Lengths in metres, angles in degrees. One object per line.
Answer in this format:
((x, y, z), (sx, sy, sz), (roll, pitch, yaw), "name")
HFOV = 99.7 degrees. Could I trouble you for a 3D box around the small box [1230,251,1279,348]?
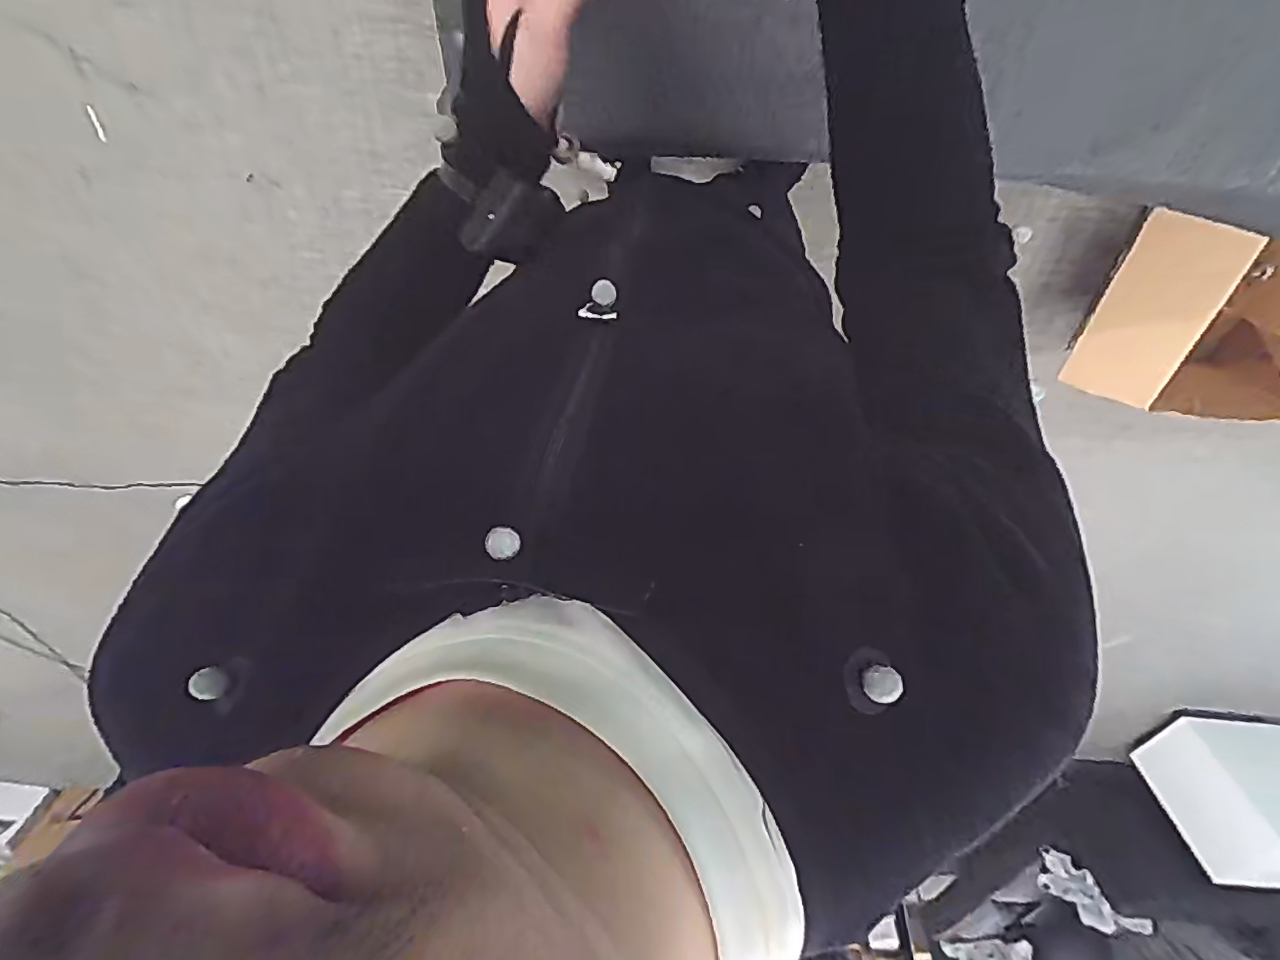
((1.433, -0.381, 1.129), (0.179, 0.176, 0.168), (0, 130, 5), "small box")
